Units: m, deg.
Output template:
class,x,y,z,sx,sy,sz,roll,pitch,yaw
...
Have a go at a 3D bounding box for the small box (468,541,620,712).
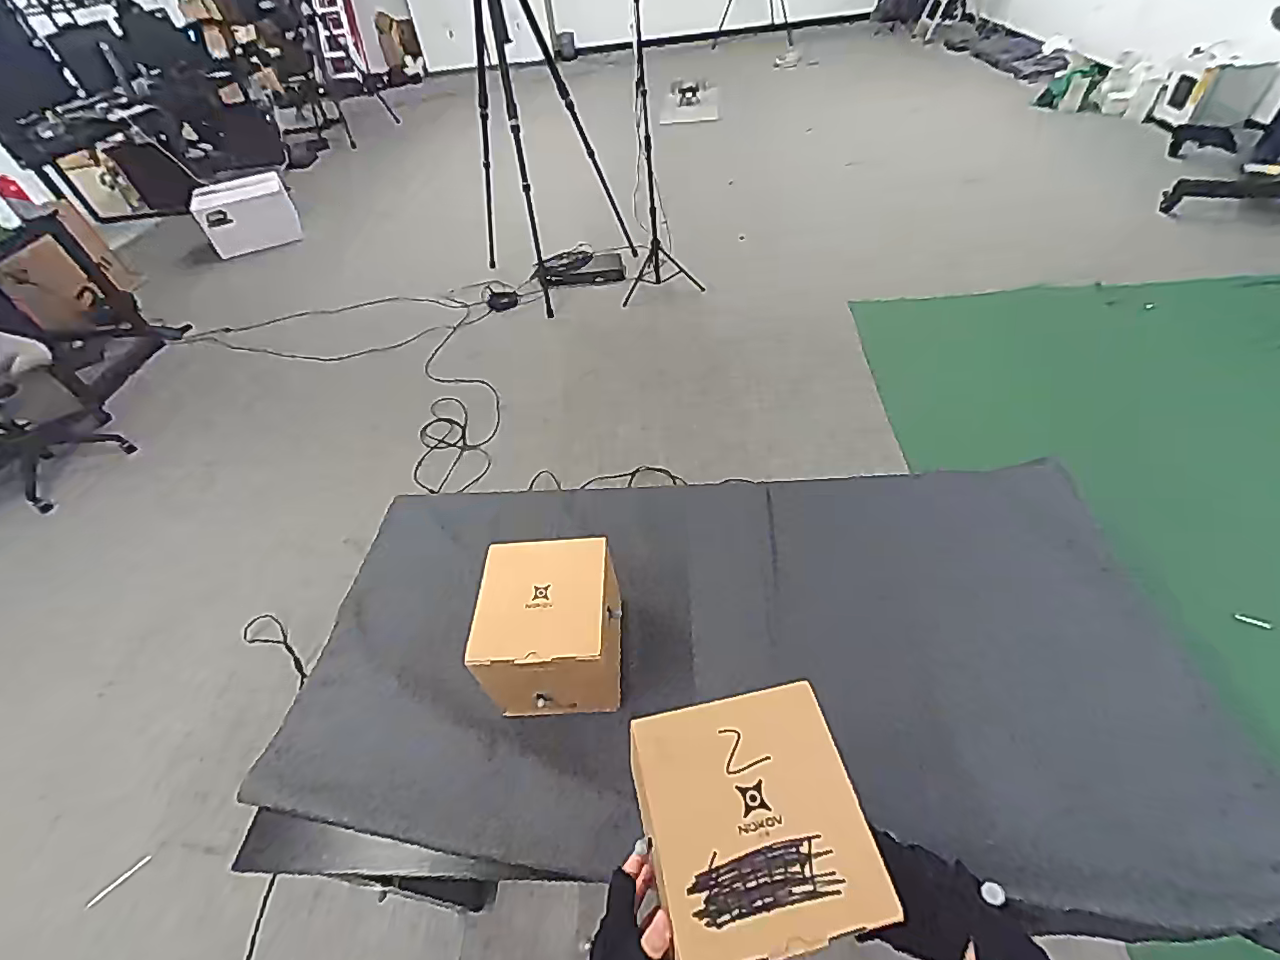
class,x,y,z,sx,sy,sz,roll,pitch,yaw
small box,-0.120,0.206,0.759,0.168,0.176,0.179,-3,48,3
